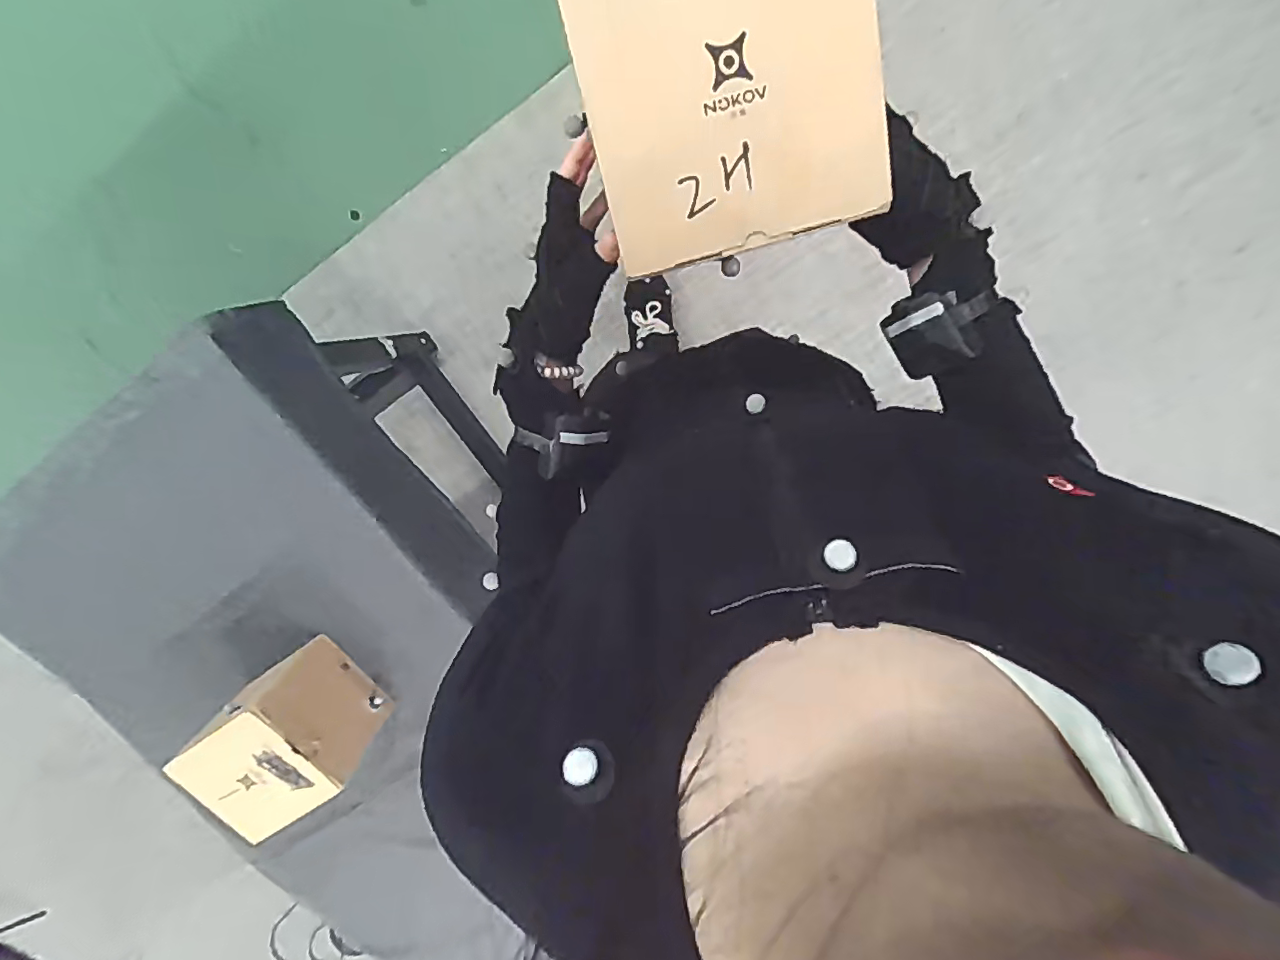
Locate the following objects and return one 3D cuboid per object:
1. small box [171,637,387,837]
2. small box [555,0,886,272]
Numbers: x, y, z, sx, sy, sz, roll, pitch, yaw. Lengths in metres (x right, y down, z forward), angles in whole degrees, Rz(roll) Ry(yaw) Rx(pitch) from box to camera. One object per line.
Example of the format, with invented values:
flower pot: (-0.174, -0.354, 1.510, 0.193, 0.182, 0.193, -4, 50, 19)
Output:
small box: (-0.506, 0.365, 0.794, 0.179, 0.176, 0.168, -33, 104, 12)
small box: (0.045, -0.253, 0.371, 0.168, 0.176, 0.179, -14, 110, 6)
